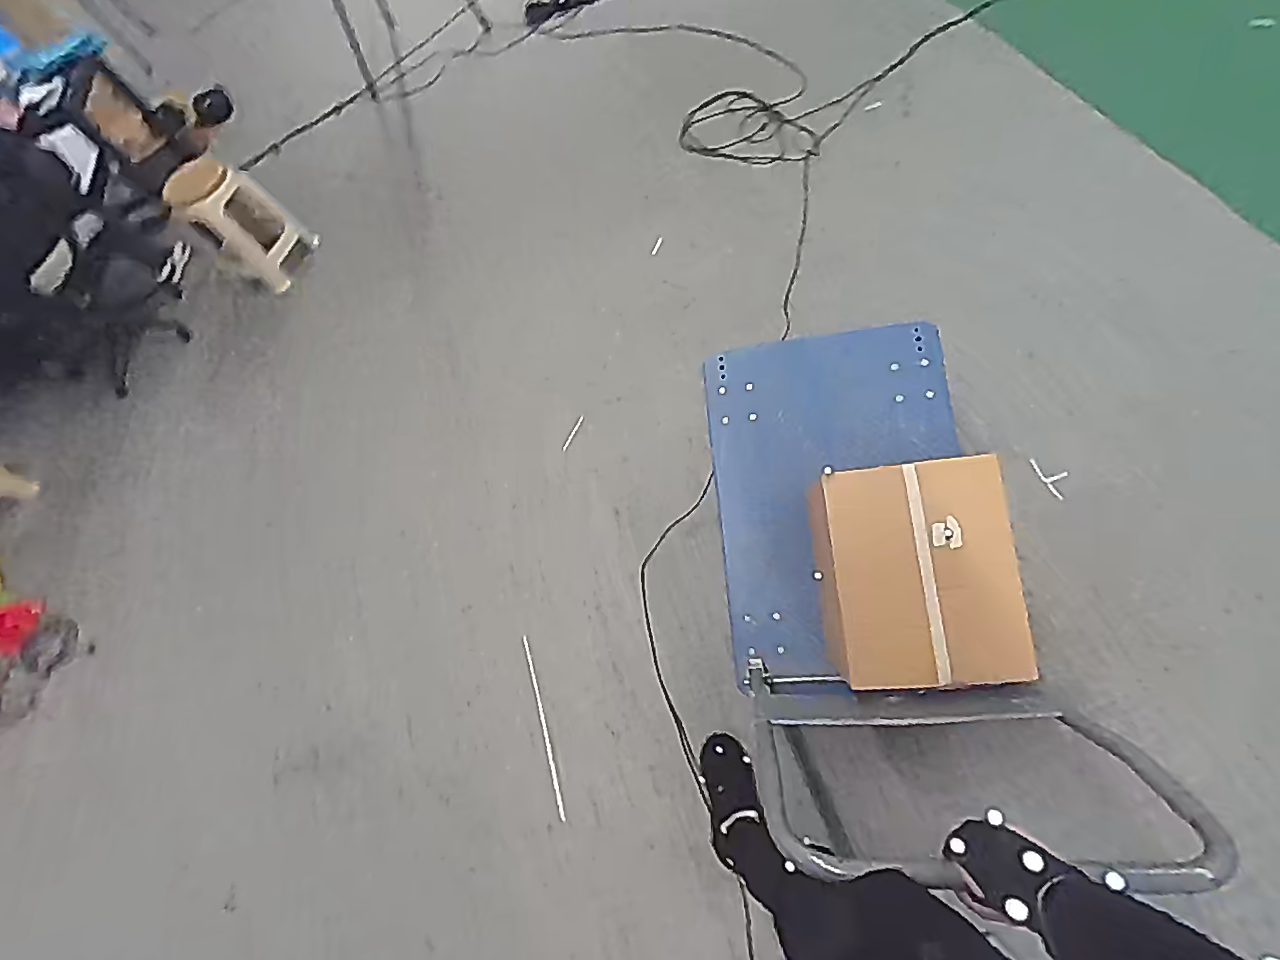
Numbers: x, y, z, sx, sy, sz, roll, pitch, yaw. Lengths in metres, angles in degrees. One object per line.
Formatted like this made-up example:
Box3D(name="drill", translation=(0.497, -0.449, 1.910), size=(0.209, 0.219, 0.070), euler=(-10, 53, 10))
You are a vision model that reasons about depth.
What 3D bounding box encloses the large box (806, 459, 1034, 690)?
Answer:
Box3D(name="large box", translation=(0.549, 0.194, 1.145), size=(0.320, 0.320, 0.408), euler=(-7, 81, 9))
